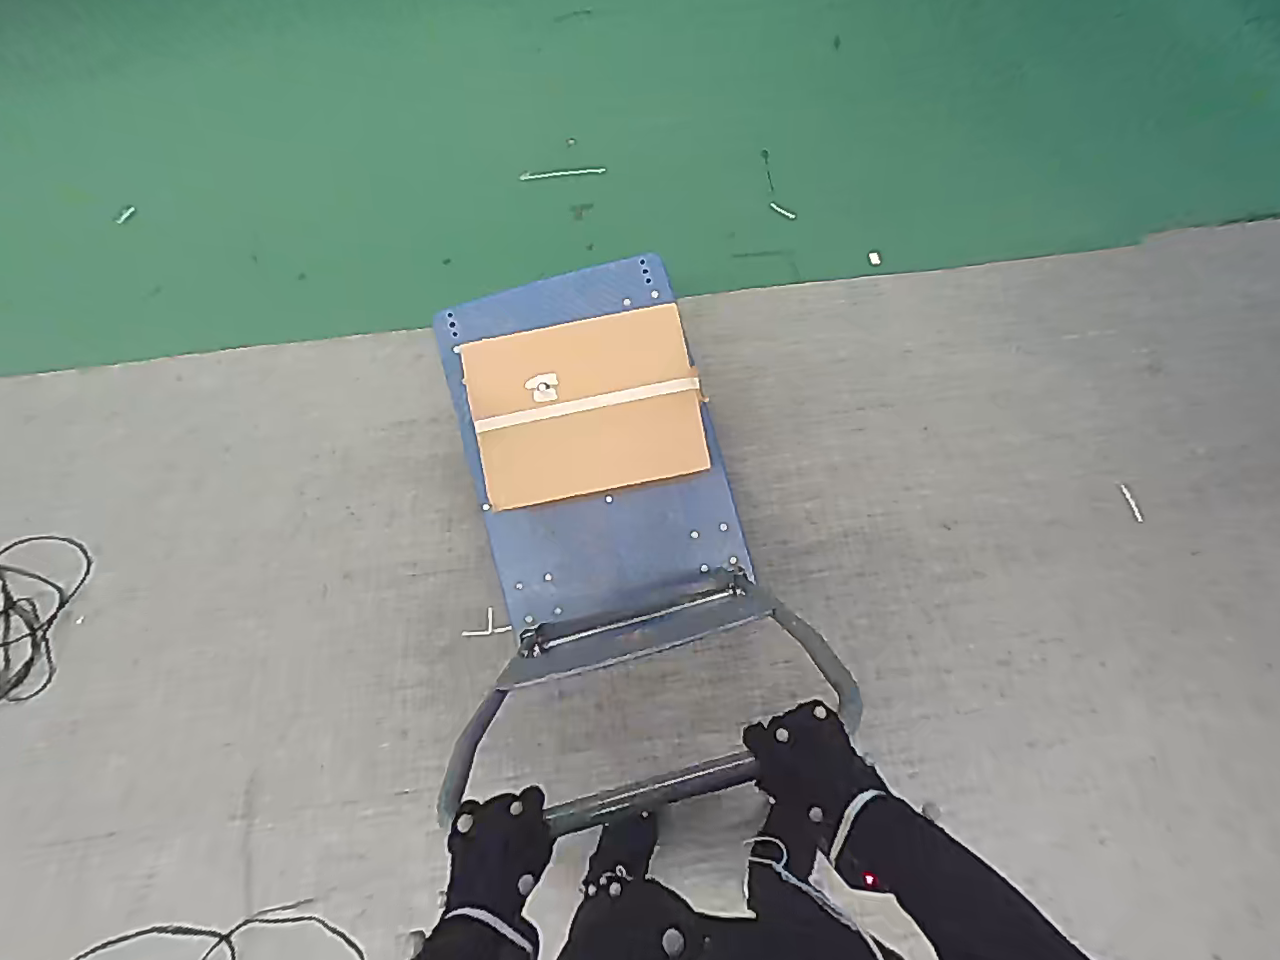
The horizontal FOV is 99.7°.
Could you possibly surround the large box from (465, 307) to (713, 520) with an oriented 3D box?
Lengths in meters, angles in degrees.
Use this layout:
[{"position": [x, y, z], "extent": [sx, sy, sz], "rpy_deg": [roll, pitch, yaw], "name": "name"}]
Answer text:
[{"position": [-0.090, -0.116, 1.123], "extent": [0.408, 0.320, 0.320], "rpy_deg": [-13, 86, 1], "name": "large box"}]
